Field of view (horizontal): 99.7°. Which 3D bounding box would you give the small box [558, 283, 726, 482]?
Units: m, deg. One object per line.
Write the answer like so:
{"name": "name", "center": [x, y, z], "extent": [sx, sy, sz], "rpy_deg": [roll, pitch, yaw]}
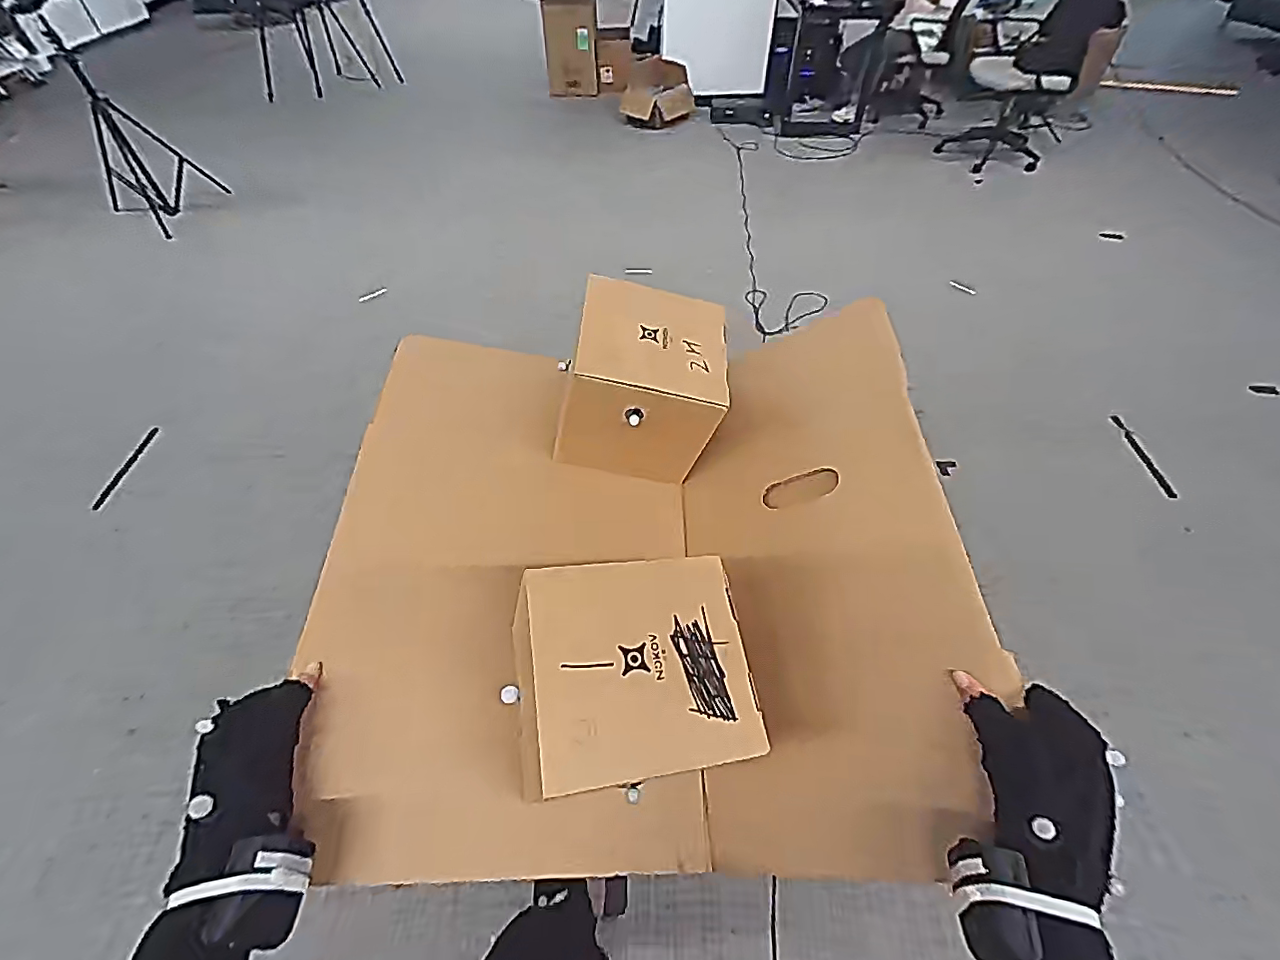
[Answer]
{"name": "small box", "center": [-0.003, -0.115, 0.696], "extent": [0.179, 0.176, 0.168], "rpy_deg": [11, 57, -11]}

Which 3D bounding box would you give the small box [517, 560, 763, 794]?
{"name": "small box", "center": [-0.016, 0.185, 0.504], "extent": [0.179, 0.176, 0.168], "rpy_deg": [-1, 60, -17]}
